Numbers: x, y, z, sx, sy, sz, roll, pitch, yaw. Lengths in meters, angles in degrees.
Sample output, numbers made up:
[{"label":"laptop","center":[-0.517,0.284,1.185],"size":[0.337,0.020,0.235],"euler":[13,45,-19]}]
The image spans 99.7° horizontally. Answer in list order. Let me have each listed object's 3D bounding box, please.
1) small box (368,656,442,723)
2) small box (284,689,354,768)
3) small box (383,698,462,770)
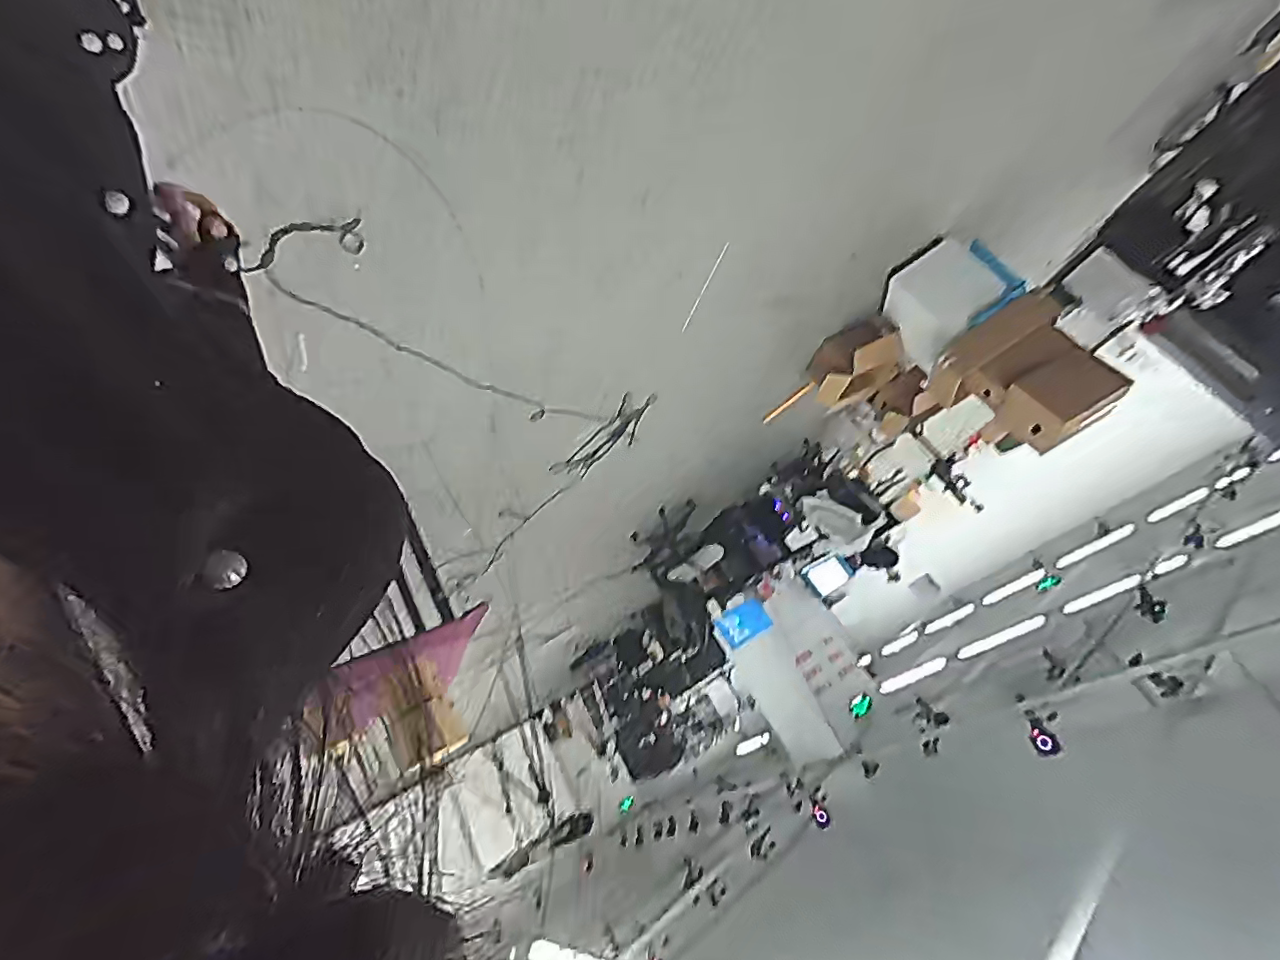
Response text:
[{"label":"small box","center":[-0.859,0.766,1.978],"size":[0.179,0.176,0.168],"euler":[-27,158,-14]},{"label":"small box","center":[-1.074,0.825,1.809],"size":[0.168,0.176,0.179],"euler":[-16,154,-38]},{"label":"small box","center":[-0.768,0.887,1.909],"size":[0.179,0.176,0.168],"euler":[-30,159,-2]}]
